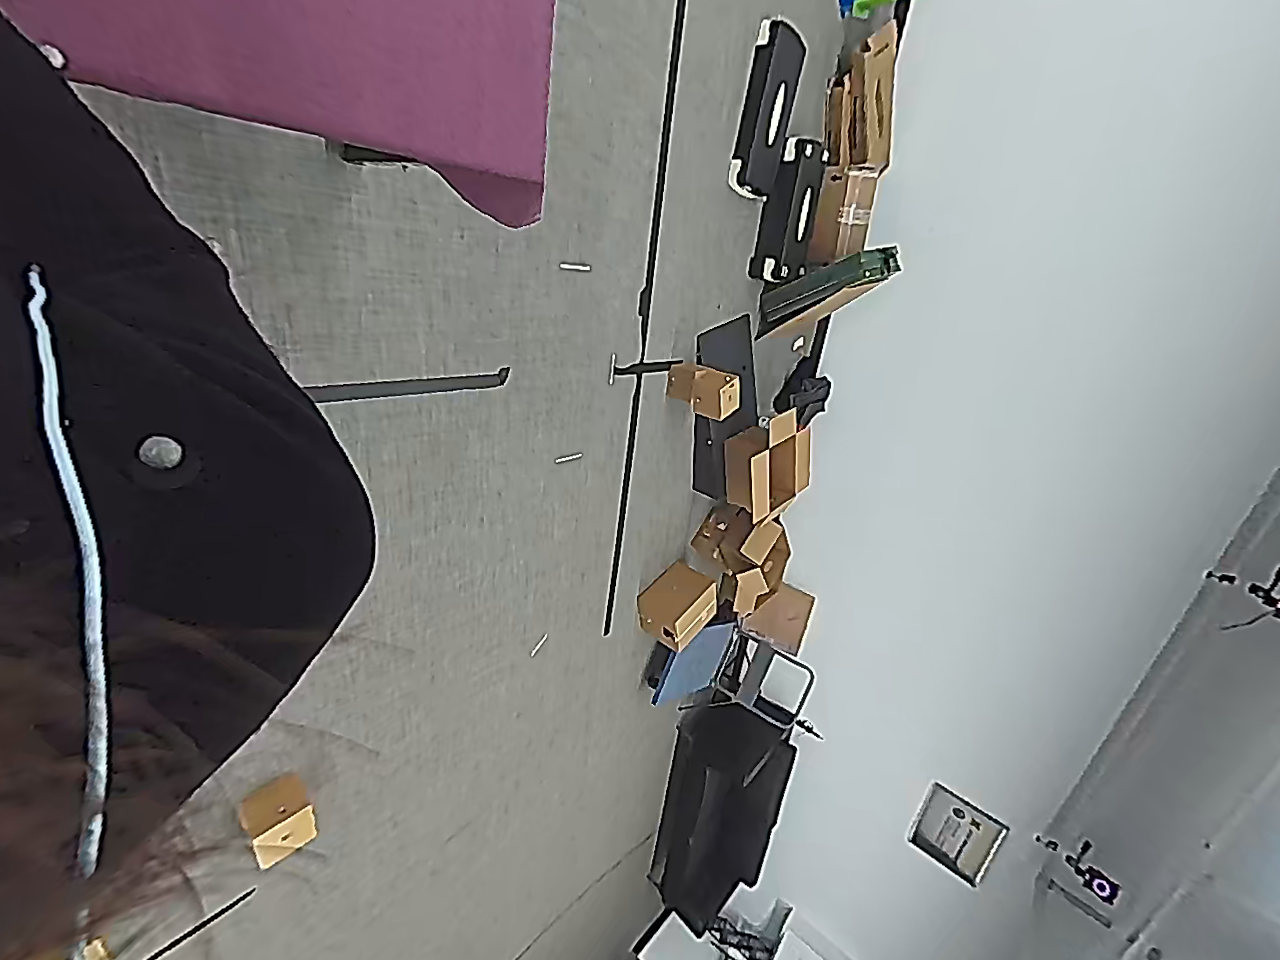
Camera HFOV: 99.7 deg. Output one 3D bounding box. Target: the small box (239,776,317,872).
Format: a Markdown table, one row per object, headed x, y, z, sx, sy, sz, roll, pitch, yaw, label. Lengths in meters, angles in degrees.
| x | y | z | sx | sy | sz | roll | pitch | yaw | label |
| --- | --- | --- | --- | --- | --- | --- | --- | --- | --- |
| -1.238 | 1.165 | 1.843 | 0.179 | 0.176 | 0.168 | -22 | 126 | -47 | small box |
